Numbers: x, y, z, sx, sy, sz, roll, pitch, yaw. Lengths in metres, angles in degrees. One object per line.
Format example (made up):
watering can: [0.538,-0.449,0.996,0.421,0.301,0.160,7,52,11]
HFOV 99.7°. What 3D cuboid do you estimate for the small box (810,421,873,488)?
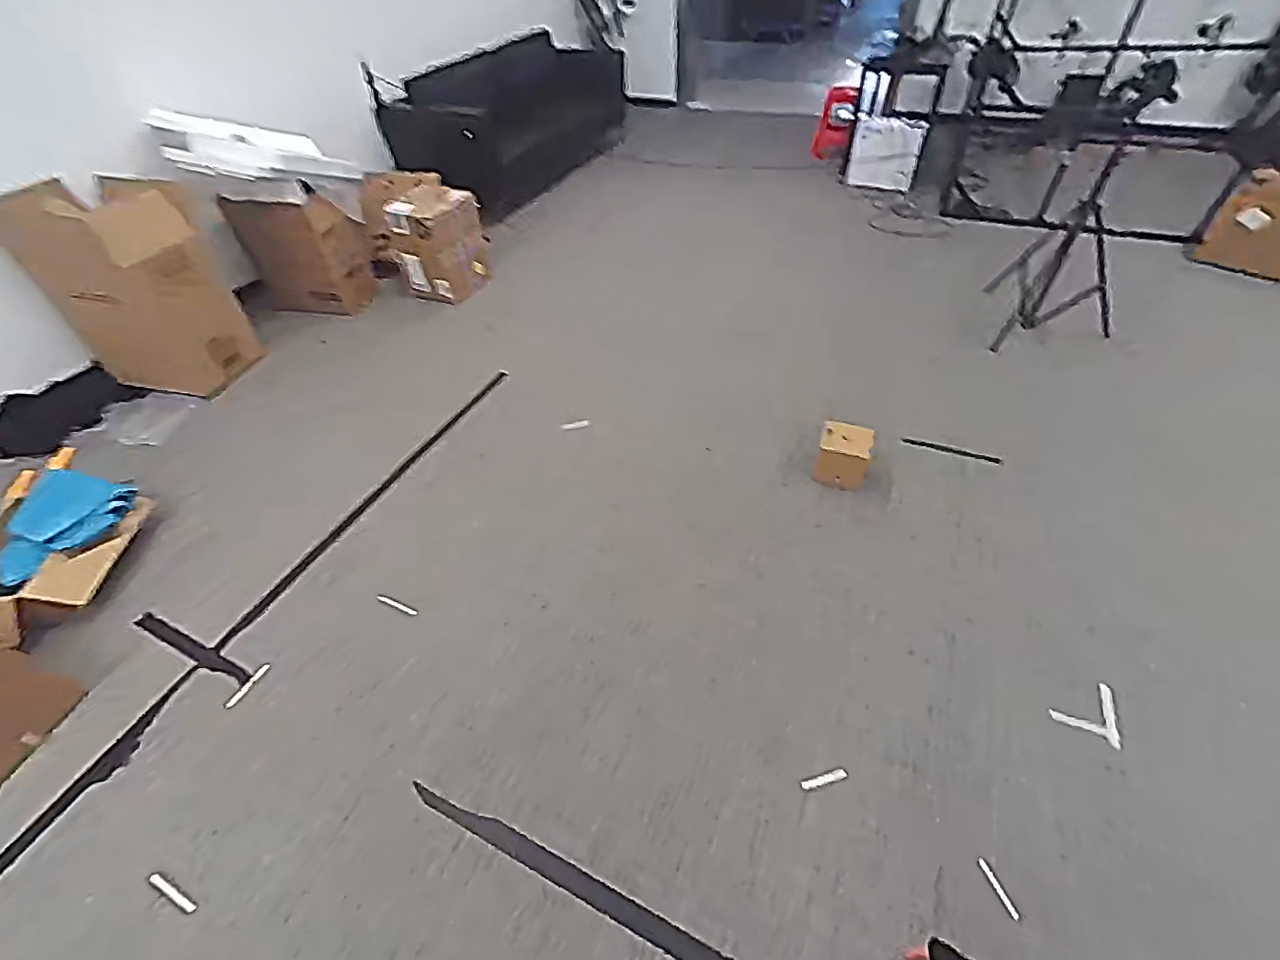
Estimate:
small box: [0.756,-0.092,2.036,0.179,0.176,0.168,15,49,17]
